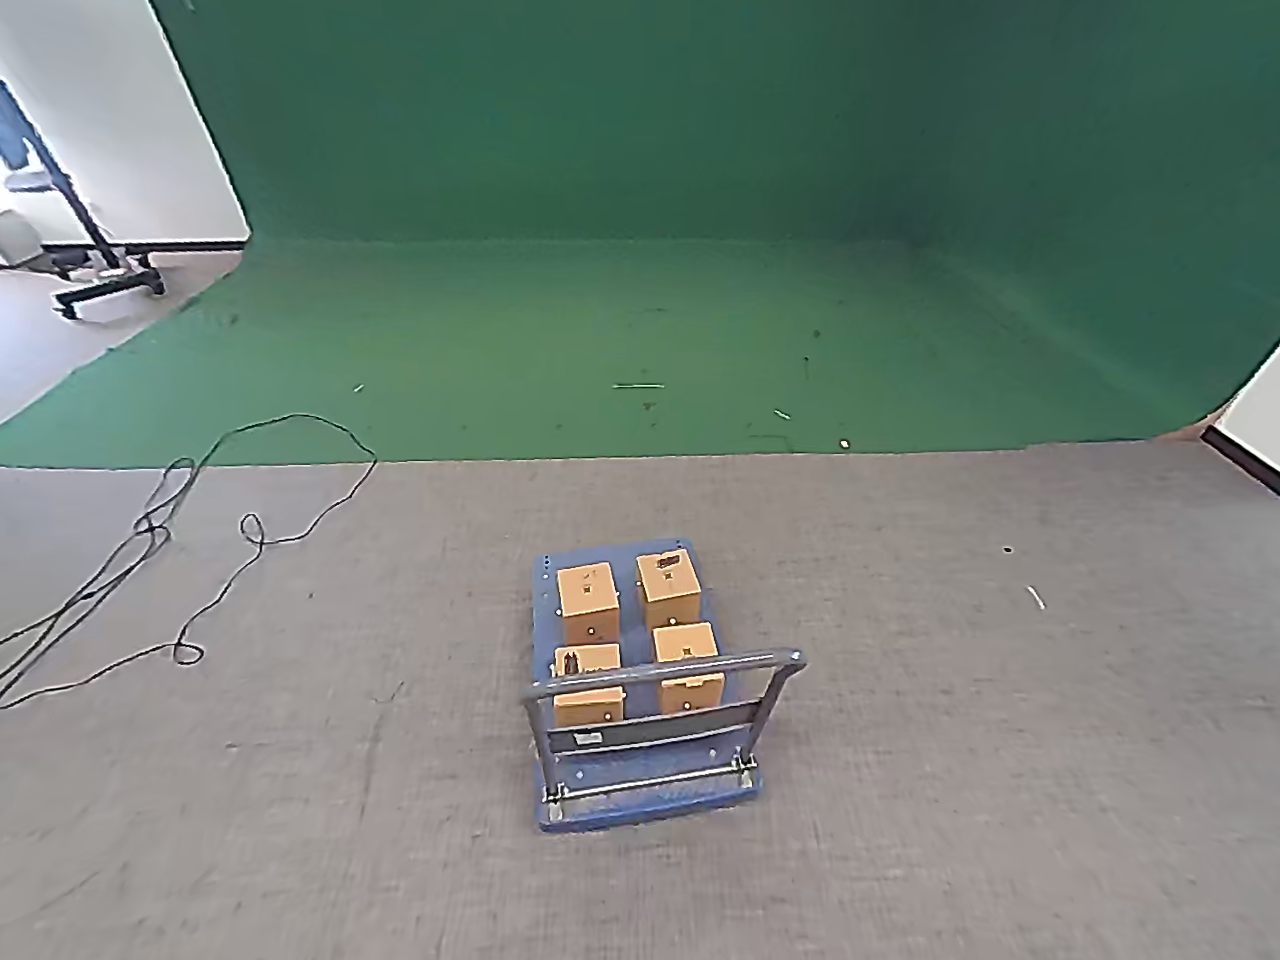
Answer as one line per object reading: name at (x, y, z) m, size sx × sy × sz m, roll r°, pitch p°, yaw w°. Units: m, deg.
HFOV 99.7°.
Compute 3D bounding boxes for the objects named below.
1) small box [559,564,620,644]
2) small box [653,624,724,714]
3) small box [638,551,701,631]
small box at (-0.157, 0.393, 1.689) m, size 0.168 × 0.176 × 0.179 m, roll -7°, pitch 42°, yaw -10°
small box at (0.130, 0.535, 1.532) m, size 0.168 × 0.176 × 0.179 m, roll -5°, pitch 42°, yaw -6°
small box at (0.088, 0.356, 1.730) m, size 0.168 × 0.176 × 0.179 m, roll -9°, pitch 43°, yaw -9°
